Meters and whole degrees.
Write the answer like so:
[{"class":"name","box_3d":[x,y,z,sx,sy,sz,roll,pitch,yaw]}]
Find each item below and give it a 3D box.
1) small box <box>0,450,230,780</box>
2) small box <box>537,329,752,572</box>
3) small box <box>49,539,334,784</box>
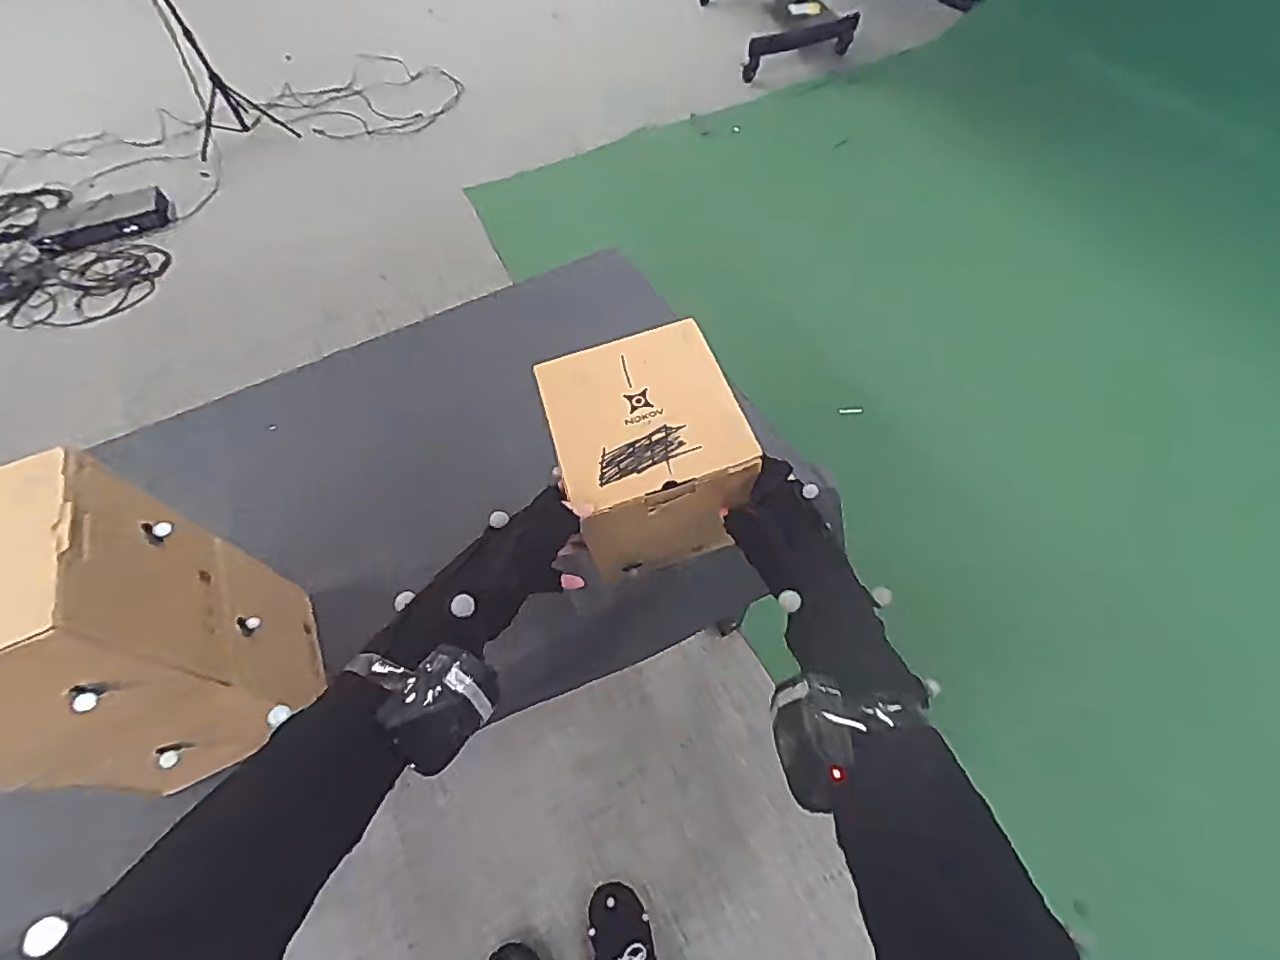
[{"class":"small box","box_3d":[-0.467,0.112,0.433,0.179,0.176,0.168,-25,58,-12]},{"class":"small box","box_3d":[0.008,-0.019,0.568,0.168,0.176,0.179,-18,59,-3]},{"class":"small box","box_3d":[-0.463,0.197,0.571,0.179,0.176,0.168,-24,60,-12]}]
